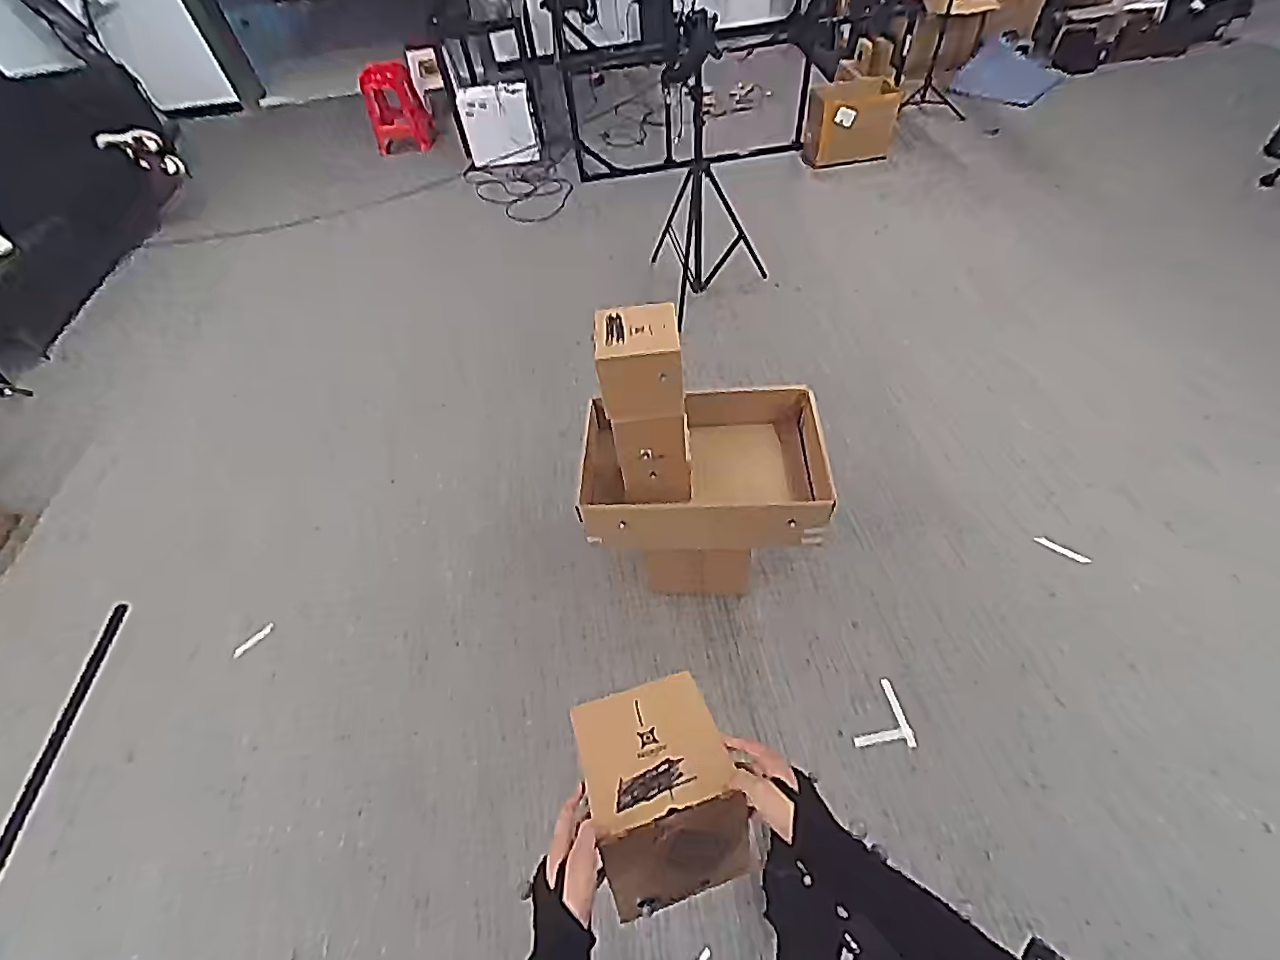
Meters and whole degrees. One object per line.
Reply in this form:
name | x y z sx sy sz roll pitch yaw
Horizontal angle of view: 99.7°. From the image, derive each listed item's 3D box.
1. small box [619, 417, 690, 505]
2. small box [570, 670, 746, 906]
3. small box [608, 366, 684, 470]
small box | 0.039 -0.046 1.428 0.179 0.176 0.168 -4 53 2
small box | 0.022 0.379 0.668 0.168 0.176 0.179 -15 27 -11
small box | 0.015 -0.146 1.300 0.168 0.176 0.179 -7 52 2
